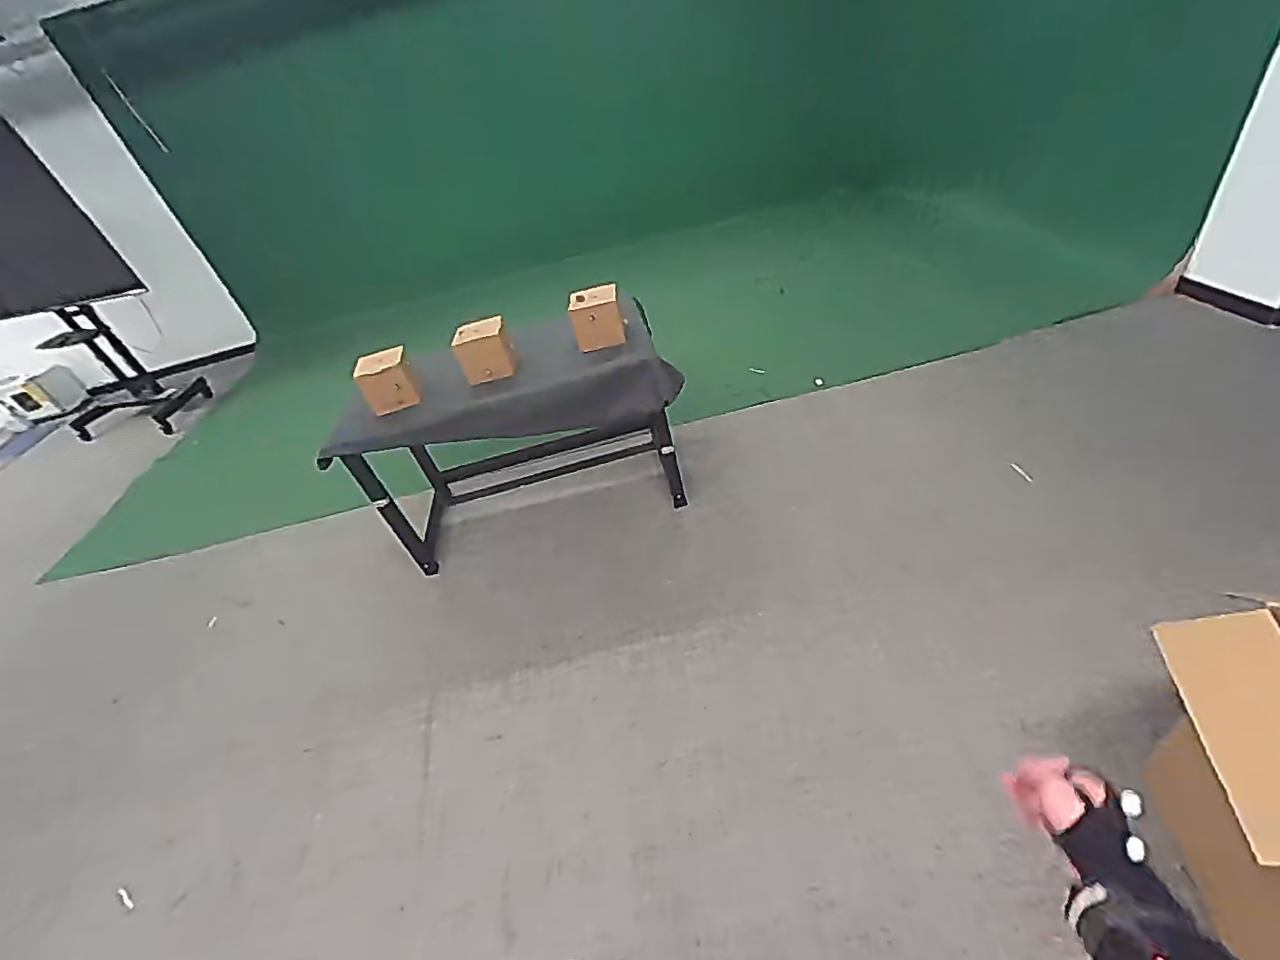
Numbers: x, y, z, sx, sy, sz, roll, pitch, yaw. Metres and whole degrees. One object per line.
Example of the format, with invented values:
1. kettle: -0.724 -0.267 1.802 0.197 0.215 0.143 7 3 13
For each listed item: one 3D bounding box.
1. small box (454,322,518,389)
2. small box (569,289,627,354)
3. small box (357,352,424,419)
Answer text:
1. small box: -0.565 -0.462 2.018 0.179 0.176 0.168 -13 38 3
2. small box: -0.152 -0.586 2.016 0.179 0.176 0.168 -11 39 6
3. small box: -0.916 -0.344 2.003 0.168 0.176 0.179 -19 36 -6
